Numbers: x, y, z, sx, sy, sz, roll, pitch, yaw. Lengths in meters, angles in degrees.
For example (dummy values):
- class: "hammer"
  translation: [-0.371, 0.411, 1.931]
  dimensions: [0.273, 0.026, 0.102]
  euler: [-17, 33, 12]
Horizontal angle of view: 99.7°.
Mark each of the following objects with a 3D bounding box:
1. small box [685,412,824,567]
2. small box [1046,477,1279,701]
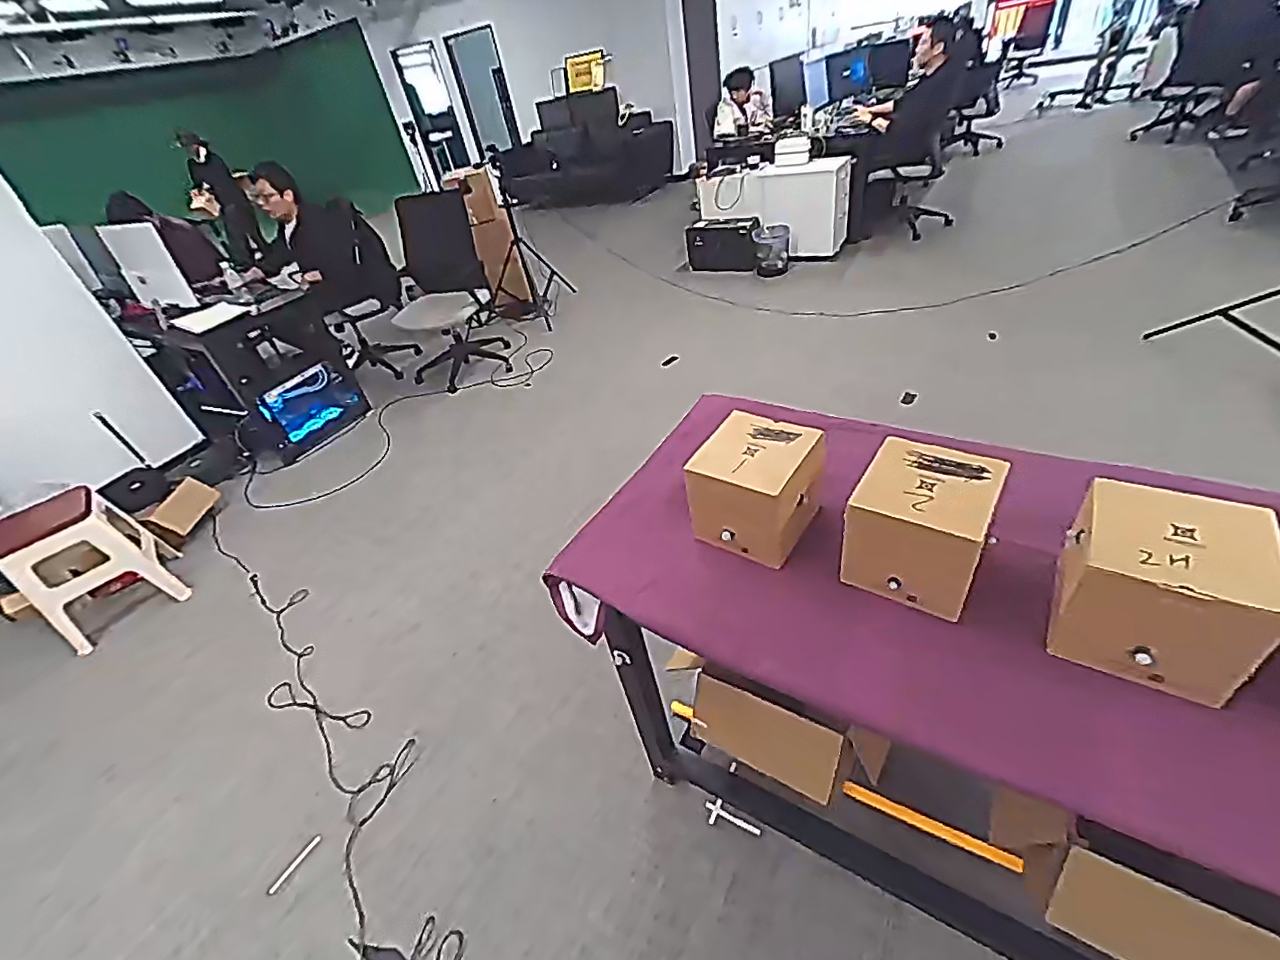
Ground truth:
- class: "small box"
  translation: [0.197, 0.013, 0.921]
  dimensions: [0.168, 0.176, 0.179]
  euler: [19, 49, 33]
- class: "small box"
  translation: [0.626, 0.128, 0.664]
  dimensions: [0.168, 0.176, 0.179]
  euler: [16, 45, 32]
